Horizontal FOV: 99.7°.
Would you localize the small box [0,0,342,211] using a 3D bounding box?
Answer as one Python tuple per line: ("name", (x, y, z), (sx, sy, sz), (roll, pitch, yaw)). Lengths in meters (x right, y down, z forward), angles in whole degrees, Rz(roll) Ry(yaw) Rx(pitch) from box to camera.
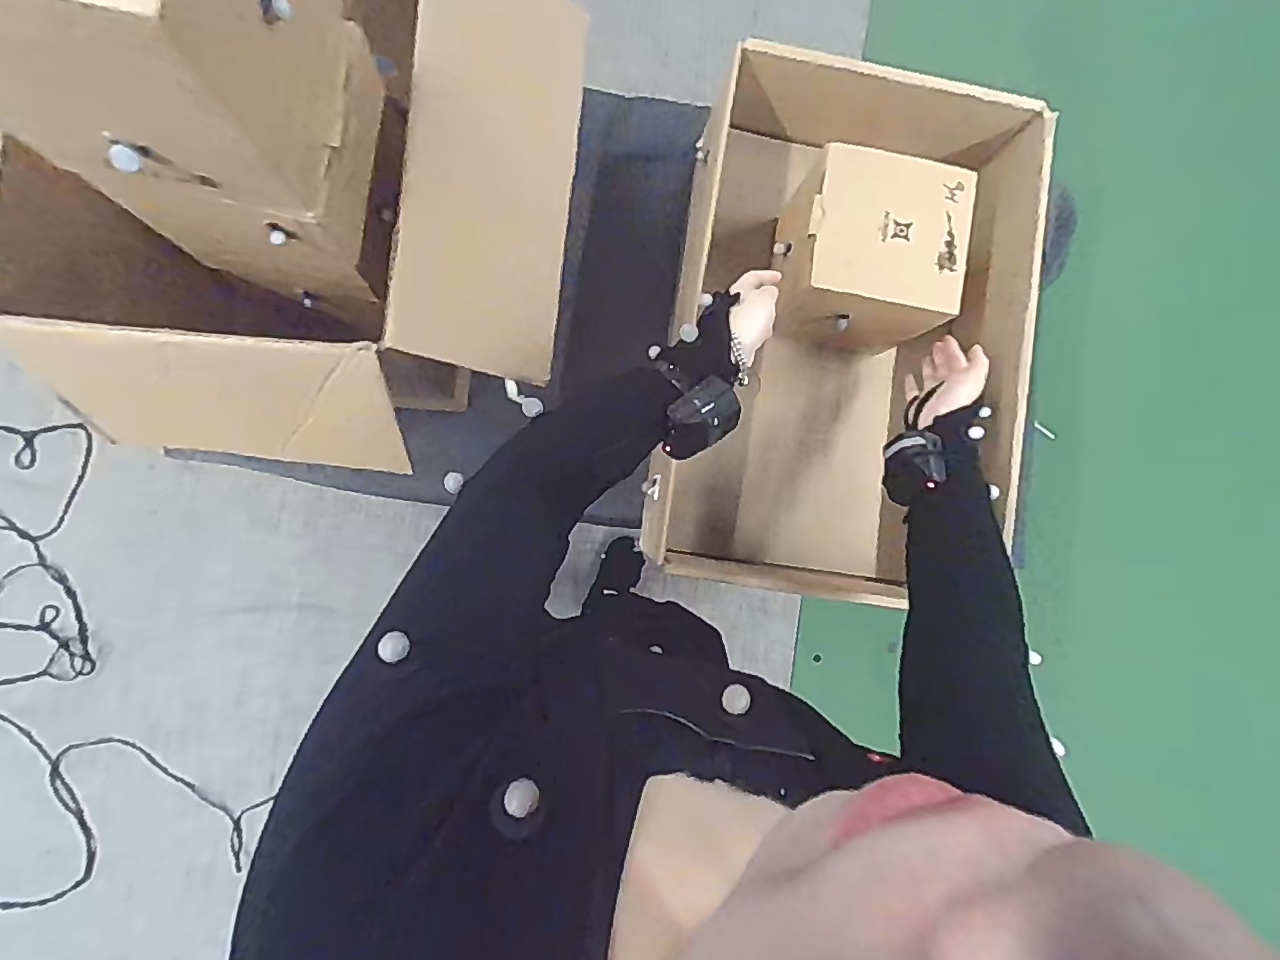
("small box", (-0.301, -0.301, 0.325), (0.168, 0.176, 0.179), (6, 86, -10))
